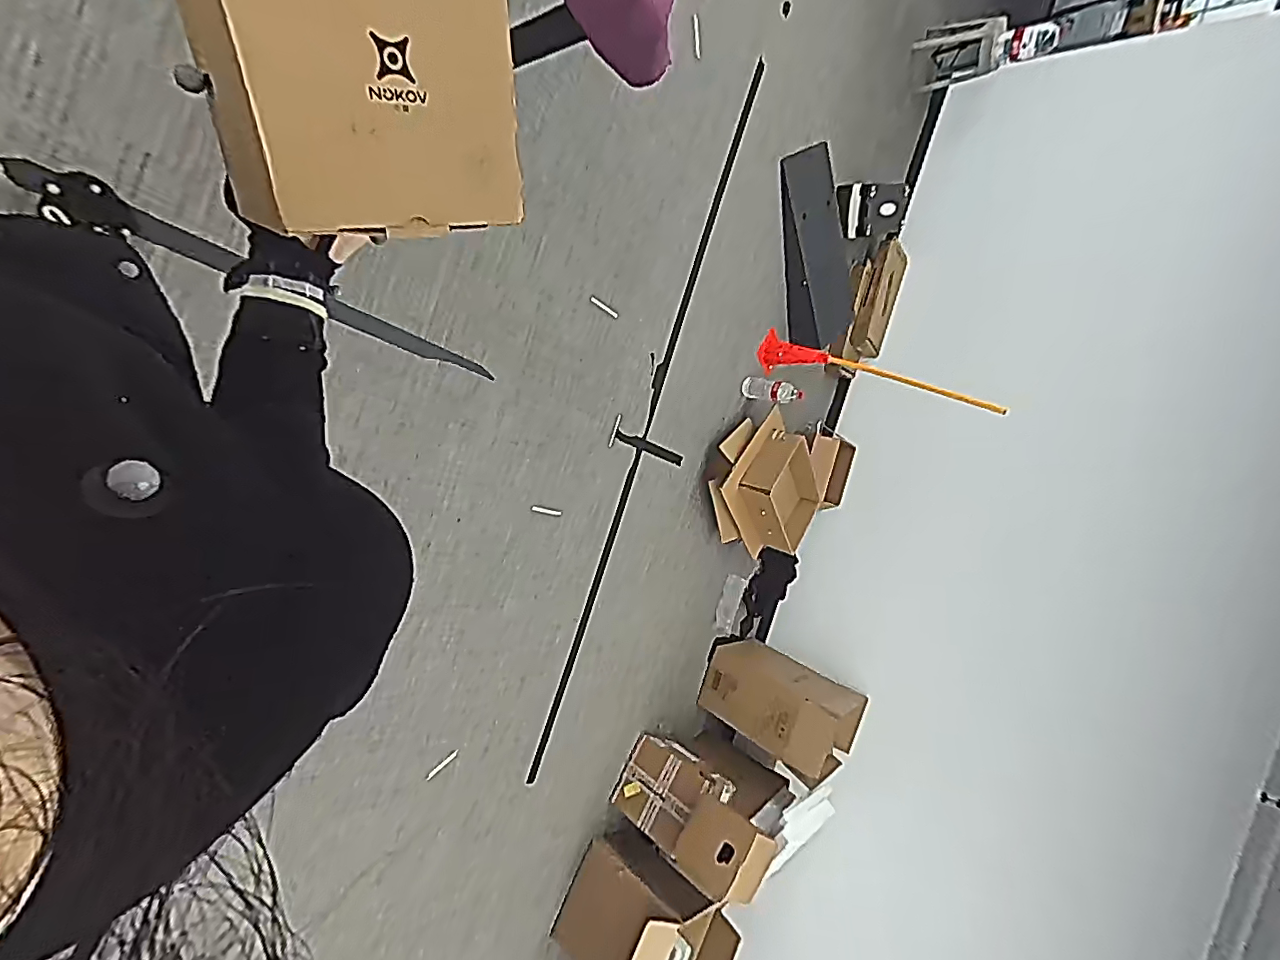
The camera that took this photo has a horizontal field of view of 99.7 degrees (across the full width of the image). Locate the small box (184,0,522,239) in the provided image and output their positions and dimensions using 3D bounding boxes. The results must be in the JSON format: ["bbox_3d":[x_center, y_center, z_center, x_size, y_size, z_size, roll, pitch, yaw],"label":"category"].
[{"bbox_3d":[-0.205,-0.283,0.394,0.168,0.176,0.179,-23,128,-35],"label":"small box"}]
